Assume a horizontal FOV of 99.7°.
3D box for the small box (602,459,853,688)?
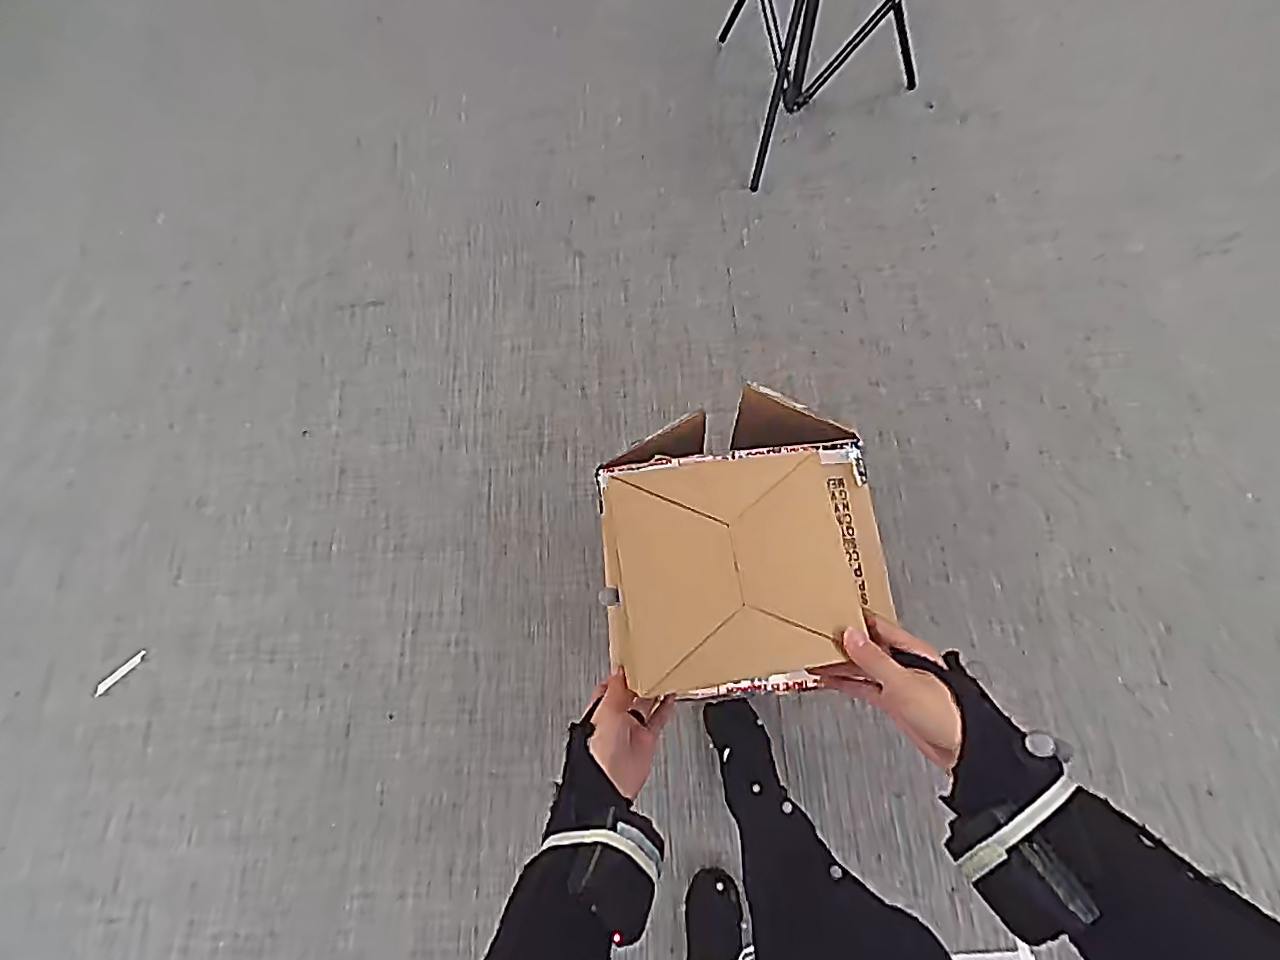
[{"bbox_3d":[0.064,0.088,0.493,0.179,0.176,0.168,-7,73,-8],"label":"small box"}]
